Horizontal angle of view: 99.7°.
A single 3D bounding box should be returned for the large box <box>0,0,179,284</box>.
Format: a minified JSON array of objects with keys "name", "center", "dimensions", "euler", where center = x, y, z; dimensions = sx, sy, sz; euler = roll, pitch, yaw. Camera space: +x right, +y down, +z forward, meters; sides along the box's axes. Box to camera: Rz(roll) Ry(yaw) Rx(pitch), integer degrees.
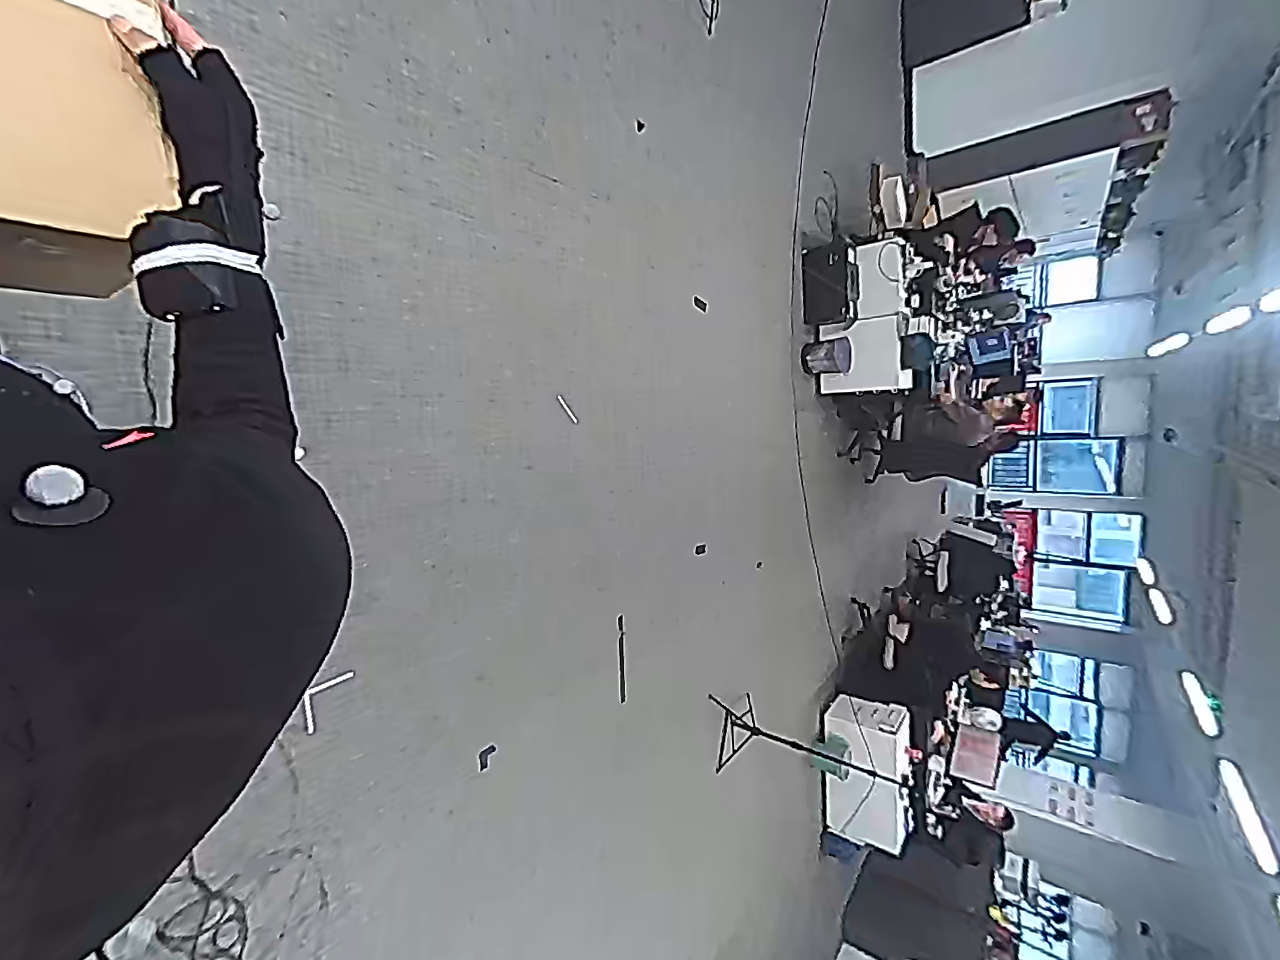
[{"name":"large box","center":[-0.607,-0.332,0.340],"dimensions":[0.408,0.320,0.320],"euler":[-10,104,-53]}]
